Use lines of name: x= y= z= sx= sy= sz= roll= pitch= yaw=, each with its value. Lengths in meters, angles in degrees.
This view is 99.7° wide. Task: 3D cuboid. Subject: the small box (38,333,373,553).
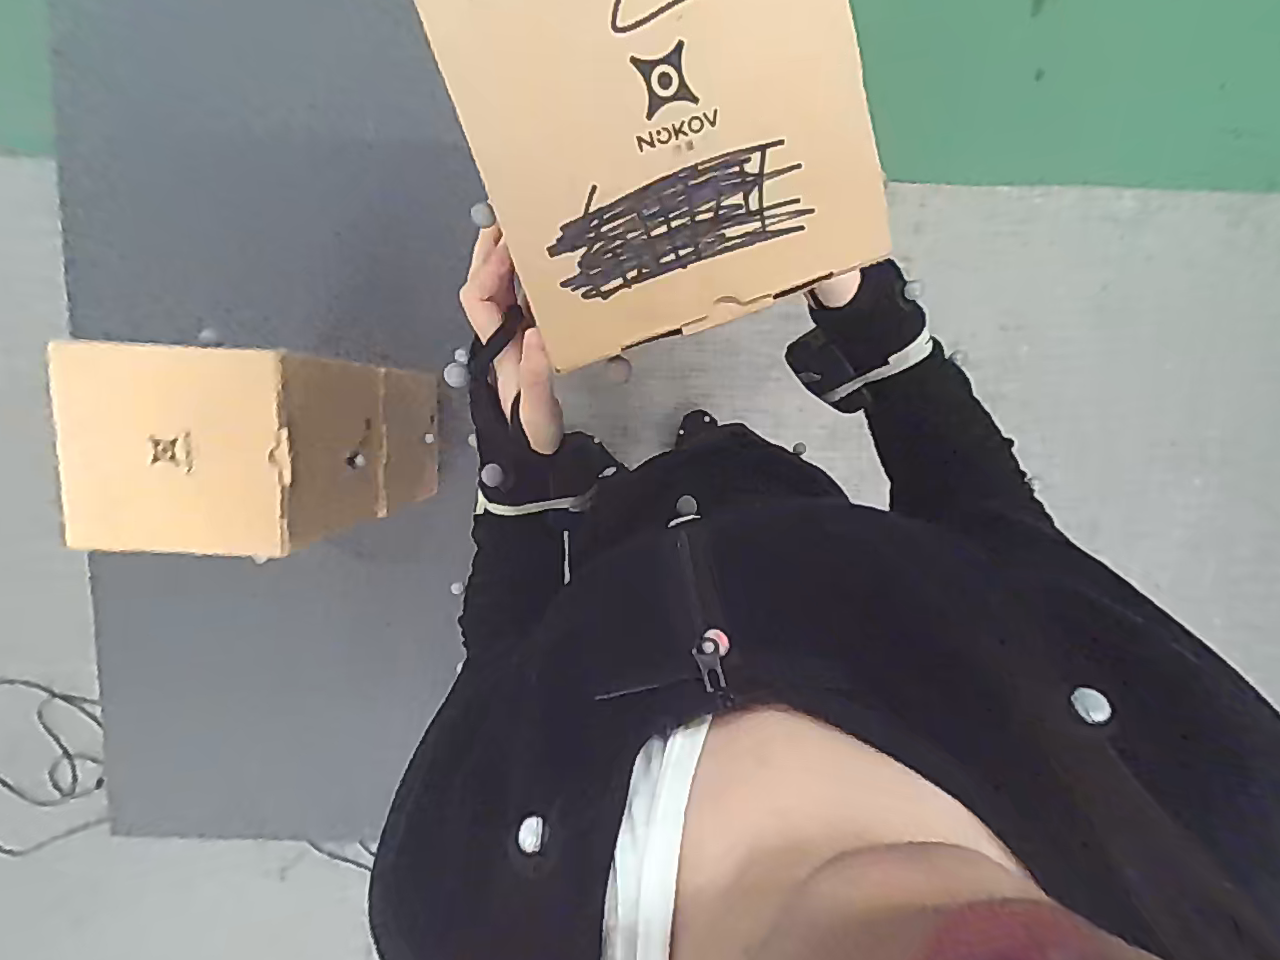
small box: x=-0.372 y=-0.036 z=0.498 sx=0.179 sy=0.176 sz=0.168 roll=2 pitch=97 yaw=-2

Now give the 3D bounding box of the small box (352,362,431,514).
small box: x=-0.372 y=-0.058 z=0.658 sx=0.179 sy=0.176 sz=0.168 roll=2 pitch=99 yaw=-2
